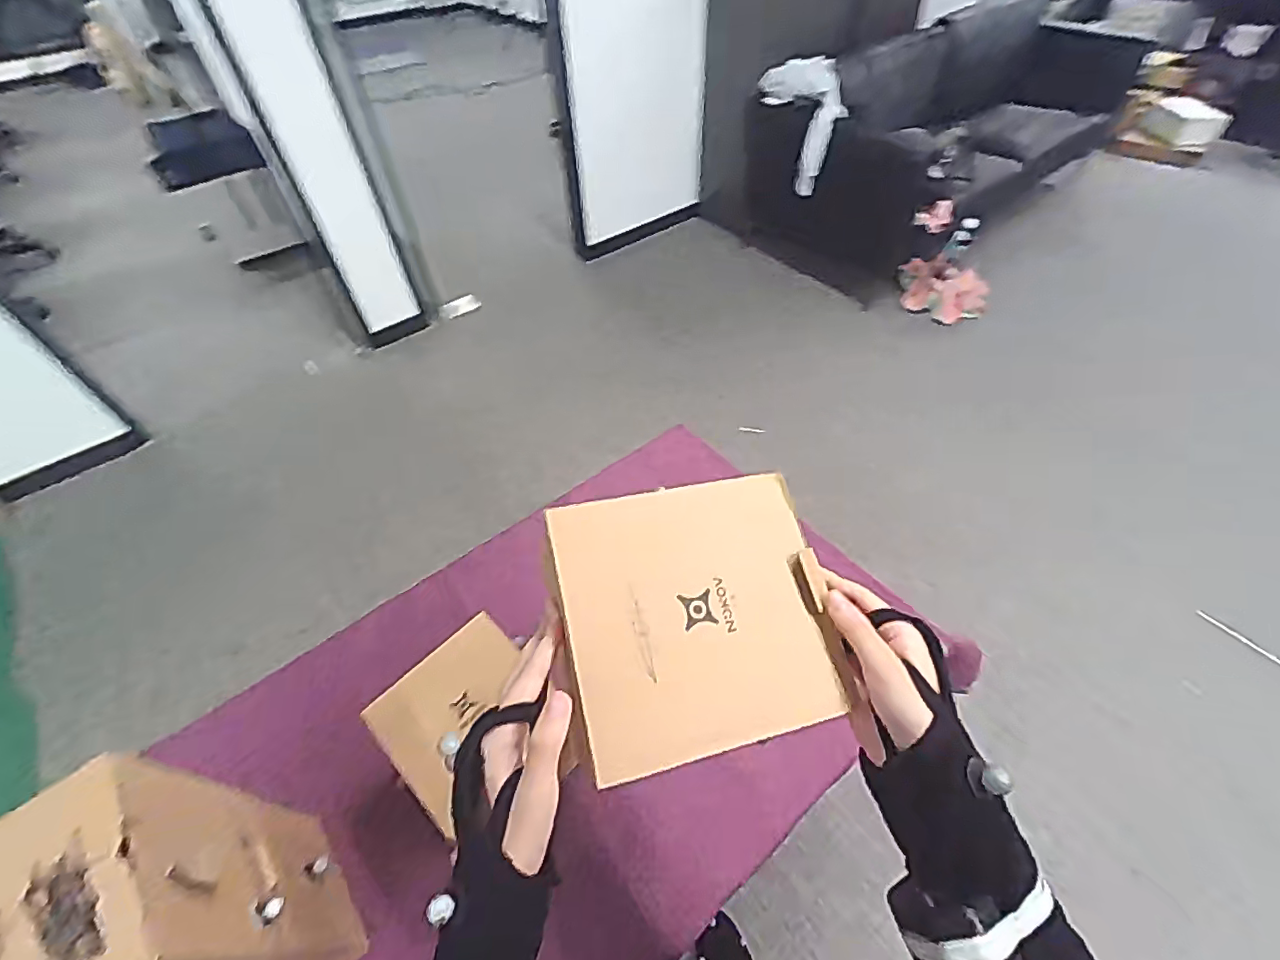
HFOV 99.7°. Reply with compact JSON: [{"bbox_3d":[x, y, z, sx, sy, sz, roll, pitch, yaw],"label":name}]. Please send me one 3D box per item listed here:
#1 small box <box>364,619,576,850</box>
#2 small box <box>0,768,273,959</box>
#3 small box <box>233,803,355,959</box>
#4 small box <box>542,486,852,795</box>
[{"bbox_3d":[-0.190,0.312,0.657,0.179,0.176,0.168,36,61,27],"label":"small box"},{"bbox_3d":[-0.421,0.363,0.411,0.179,0.176,0.168,-36,58,-23],"label":"small box"},{"bbox_3d":[-0.416,0.468,0.538,0.179,0.176,0.168,-35,57,-25],"label":"small box"},{"bbox_3d":[0.023,0.118,0.420,0.179,0.176,0.168,-9,71,-14],"label":"small box"}]
